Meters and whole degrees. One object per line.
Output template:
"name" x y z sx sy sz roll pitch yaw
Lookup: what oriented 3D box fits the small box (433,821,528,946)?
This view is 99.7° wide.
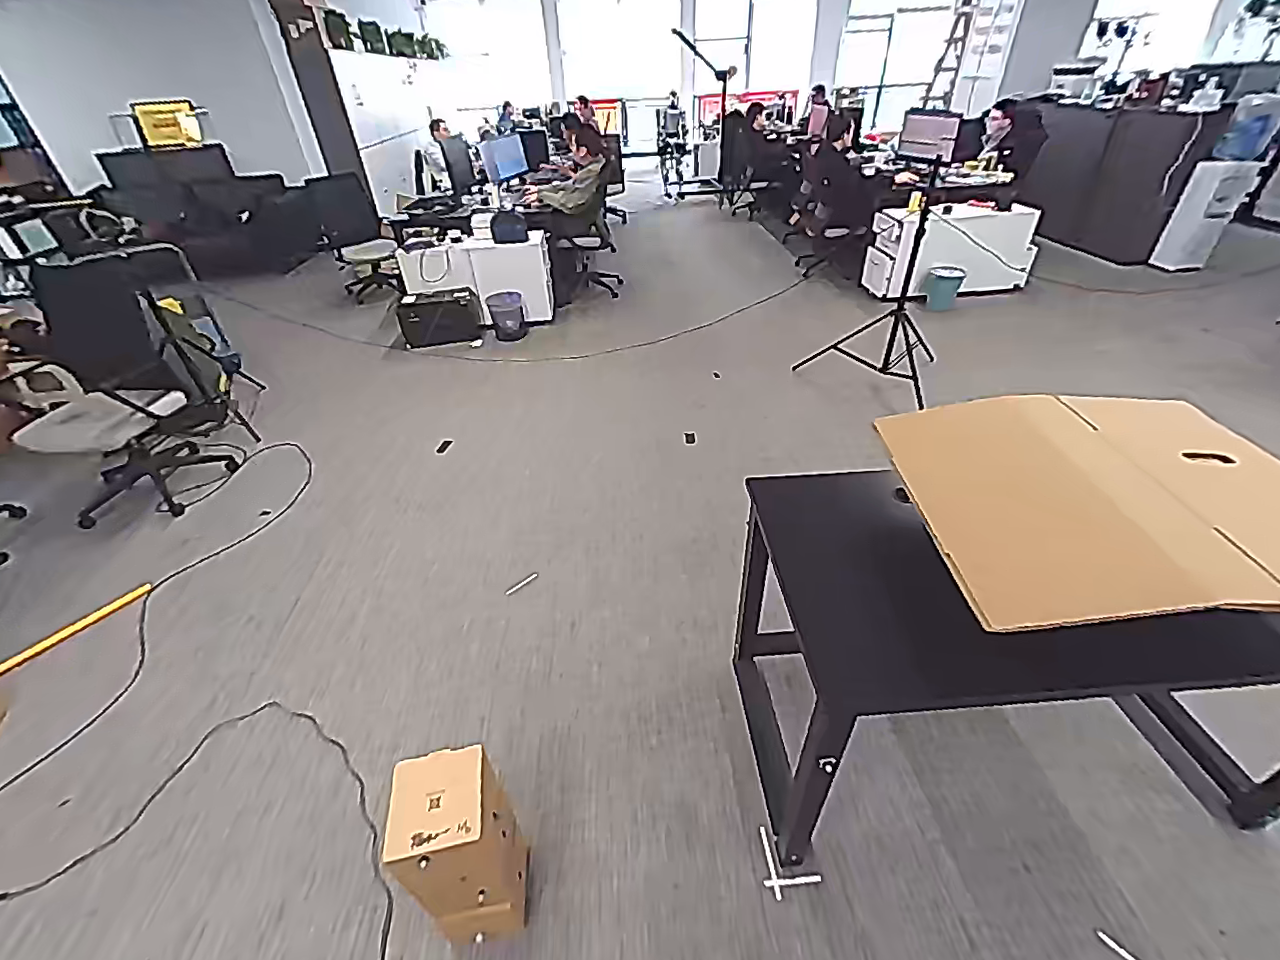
"small box" -0.352 0.916 1.229 0.168 0.176 0.179 -6 37 -4

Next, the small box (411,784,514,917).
"small box" -0.362 0.783 1.137 0.168 0.176 0.179 -8 36 -7

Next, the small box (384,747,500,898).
"small box" -0.368 0.653 1.036 0.168 0.176 0.179 -9 36 -9
